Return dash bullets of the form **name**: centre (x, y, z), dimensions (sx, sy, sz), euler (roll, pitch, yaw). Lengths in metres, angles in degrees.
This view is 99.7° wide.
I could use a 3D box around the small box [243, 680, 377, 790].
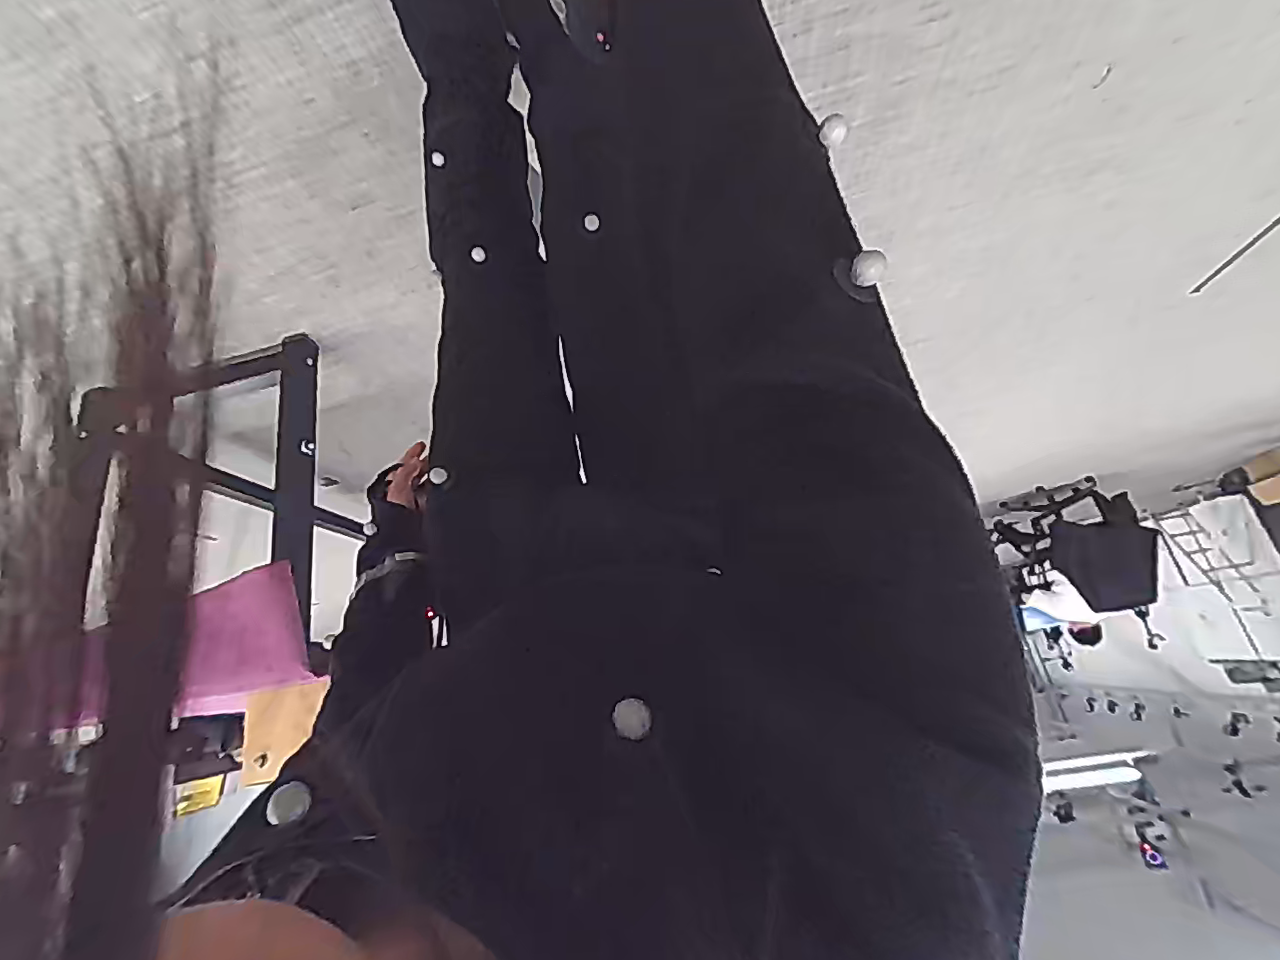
- **small box**: centre (-0.664, 0.511, 1.106), dimensions (0.179, 0.176, 0.168), euler (-13, 162, 7)
